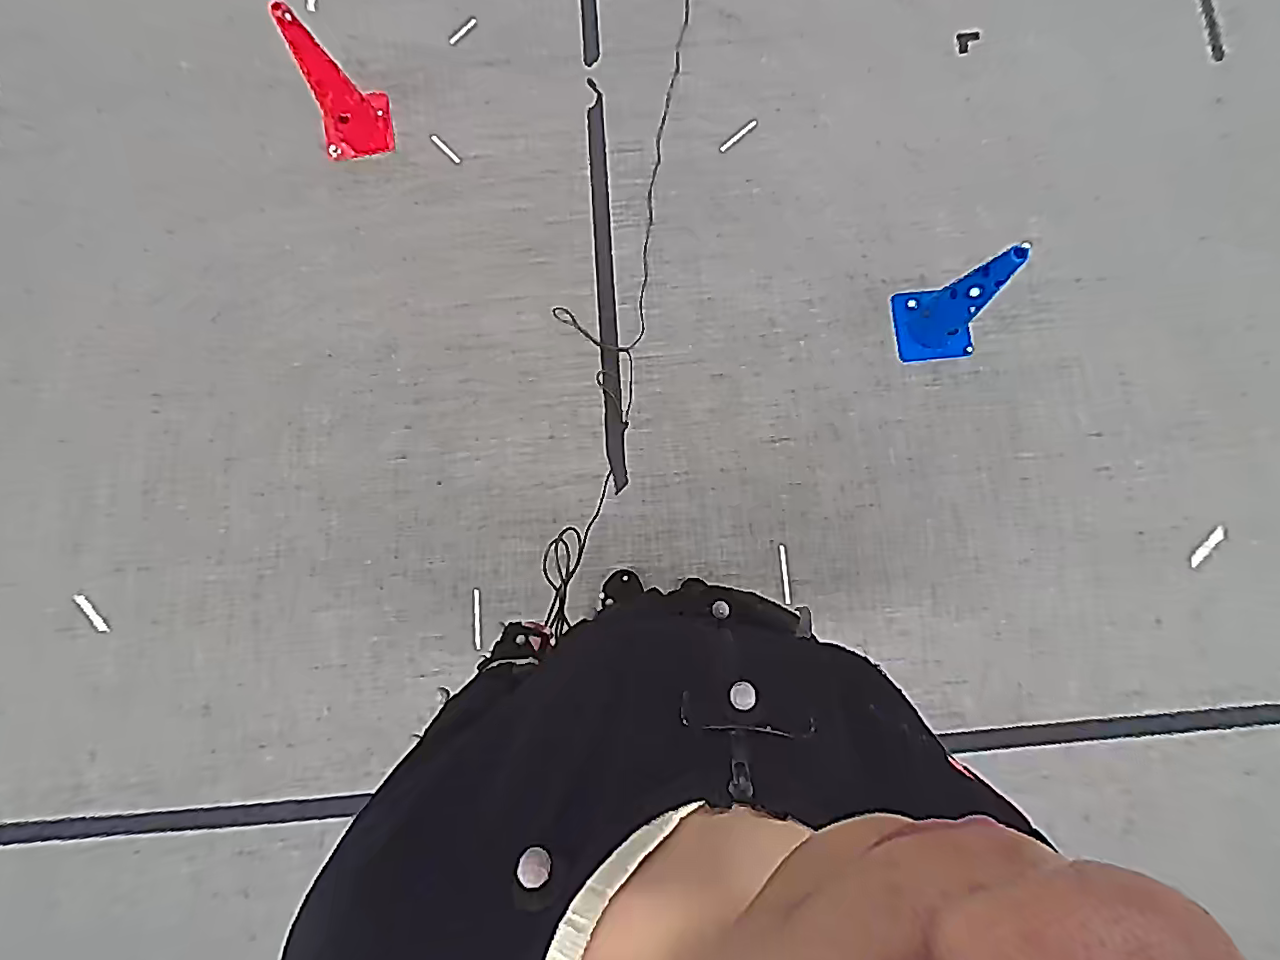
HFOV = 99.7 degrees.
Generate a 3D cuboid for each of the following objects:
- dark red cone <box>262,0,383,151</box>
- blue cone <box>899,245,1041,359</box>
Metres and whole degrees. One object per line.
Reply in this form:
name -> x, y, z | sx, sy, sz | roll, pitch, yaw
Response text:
dark red cone -> -0.843, -1.065, 1.390 | 0.201, 0.394, 0.202 | -12, 82, -2
blue cone -> 0.802, -0.443, 1.301 | 0.192, 0.380, 0.193 | -4, 82, -1
